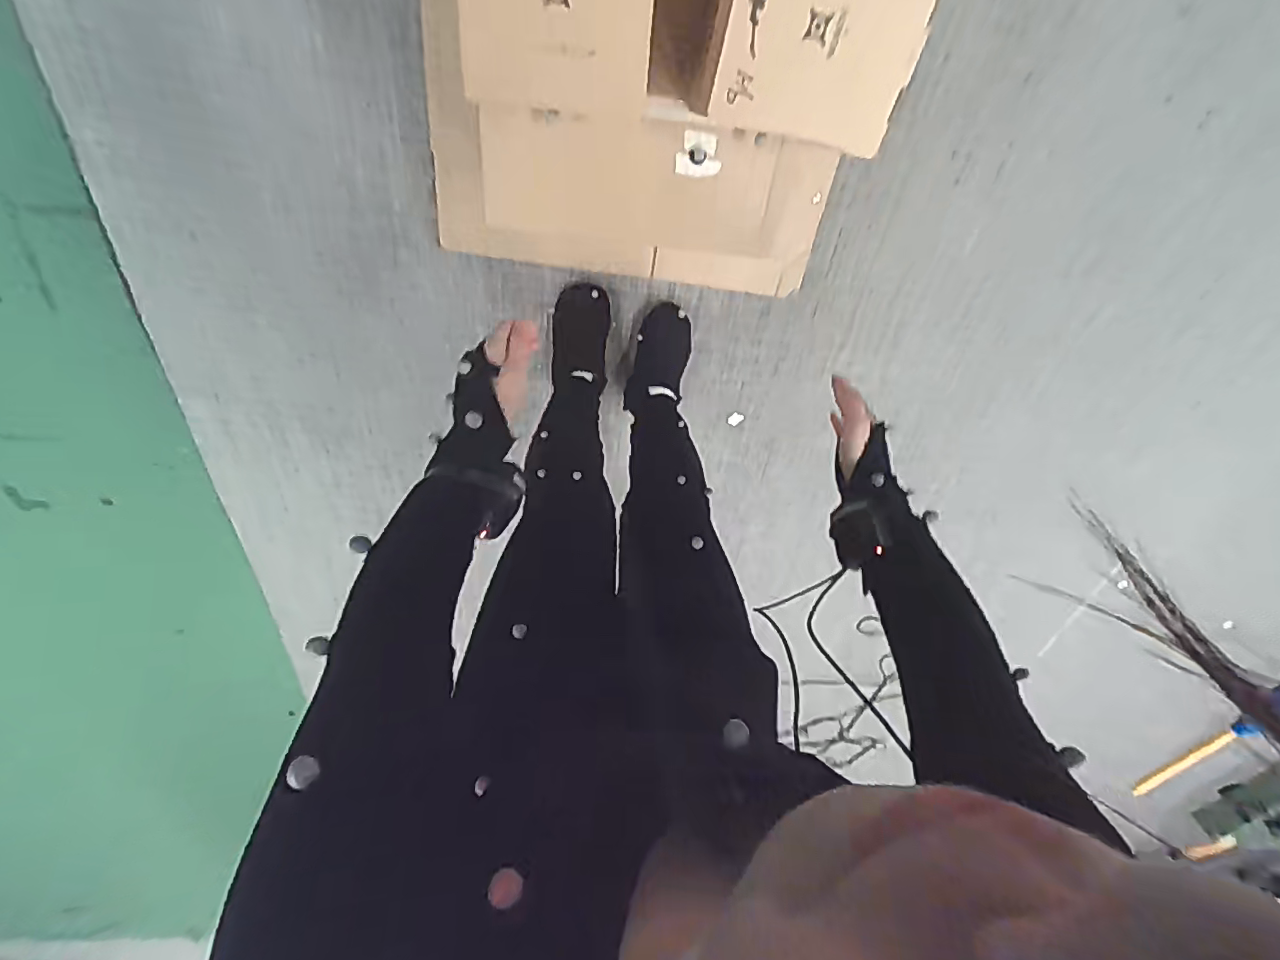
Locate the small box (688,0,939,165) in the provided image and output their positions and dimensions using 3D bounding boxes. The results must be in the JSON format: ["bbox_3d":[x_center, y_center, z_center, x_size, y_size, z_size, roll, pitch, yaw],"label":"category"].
[{"bbox_3d":[0.159,-0.436,0.541,0.179,0.176,0.168,8,125,-9],"label":"small box"}]

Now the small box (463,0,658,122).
[{"bbox_3d":[-0.070,-0.455,0.517,0.168,0.176,0.179,2,125,-5],"label":"small box"}]
